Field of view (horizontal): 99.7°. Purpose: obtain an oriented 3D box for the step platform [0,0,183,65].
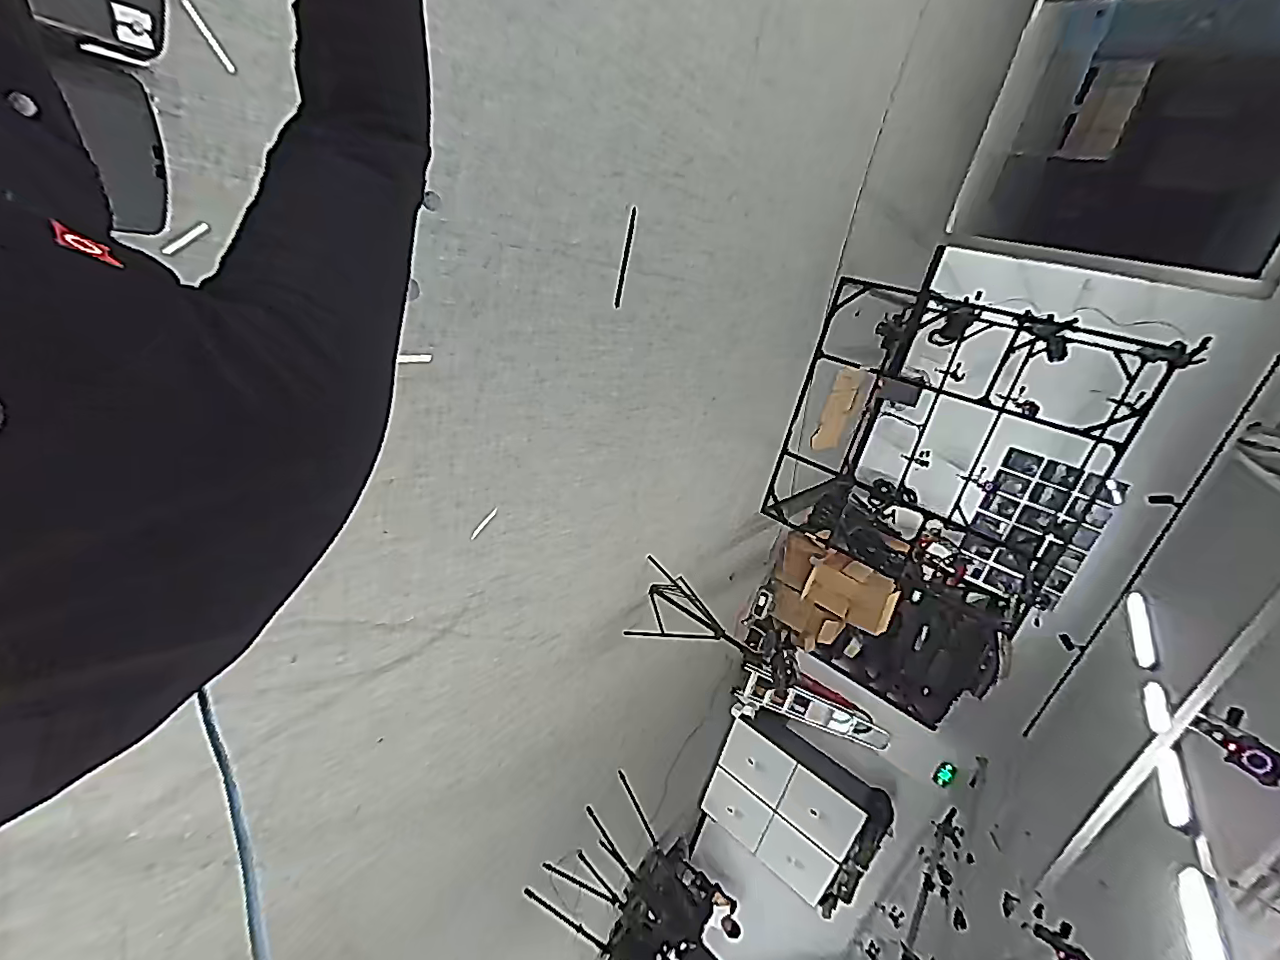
[{"bbox_3d":[-1.047,-0.832,0.708,0.684,0.204,0.286,-18,128,-50],"label":"step platform"}]
